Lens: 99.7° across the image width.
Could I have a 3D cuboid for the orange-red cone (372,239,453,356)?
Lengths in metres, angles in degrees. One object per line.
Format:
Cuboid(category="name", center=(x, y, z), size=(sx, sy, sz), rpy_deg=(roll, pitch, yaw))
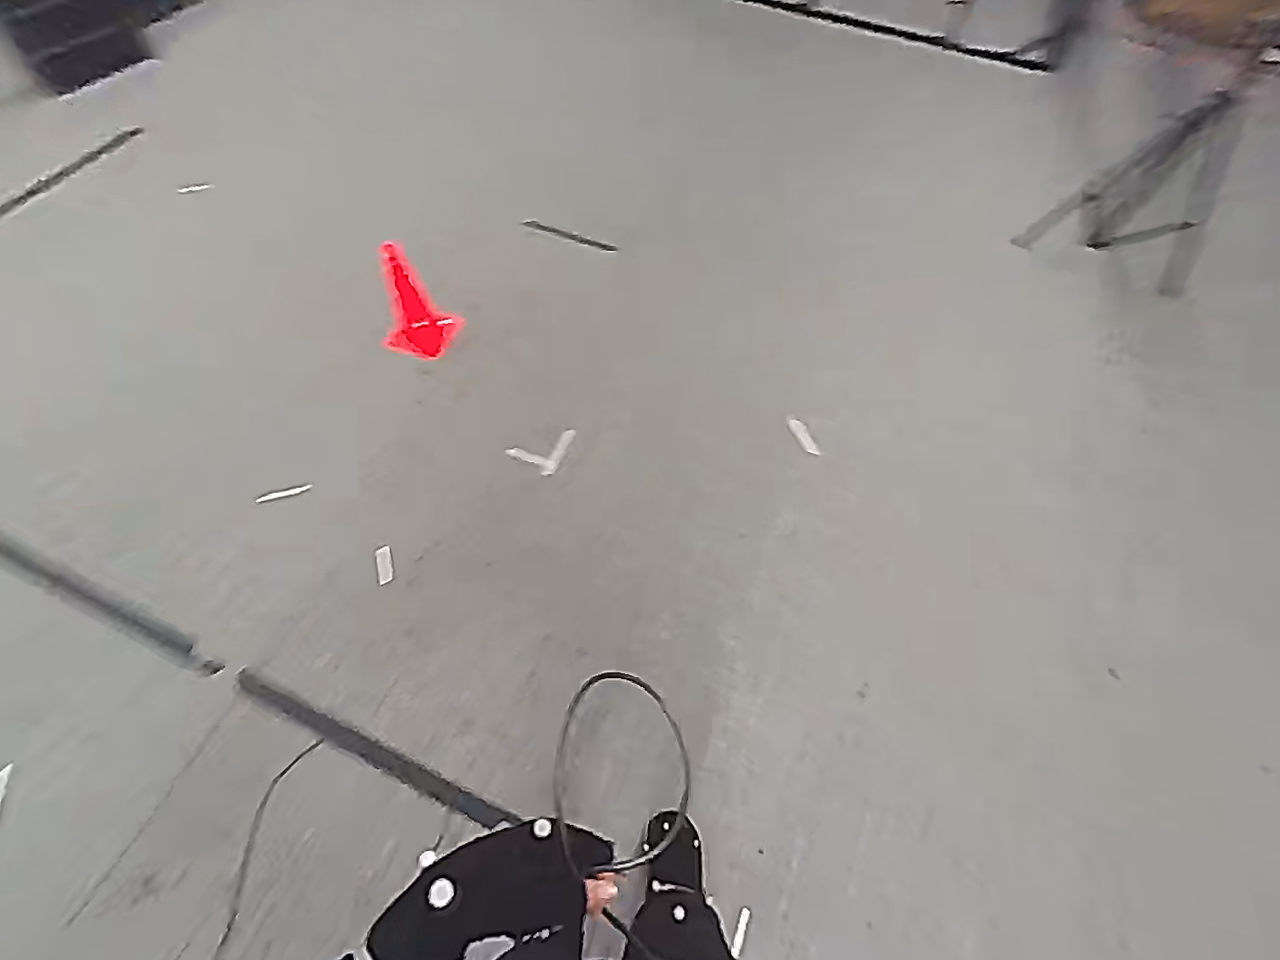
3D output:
Cuboid(category="orange-red cone", center=(-0.767, -0.600, 1.721), size=(0.199, 0.360, 0.198), rpy_deg=(17, 61, 8))
